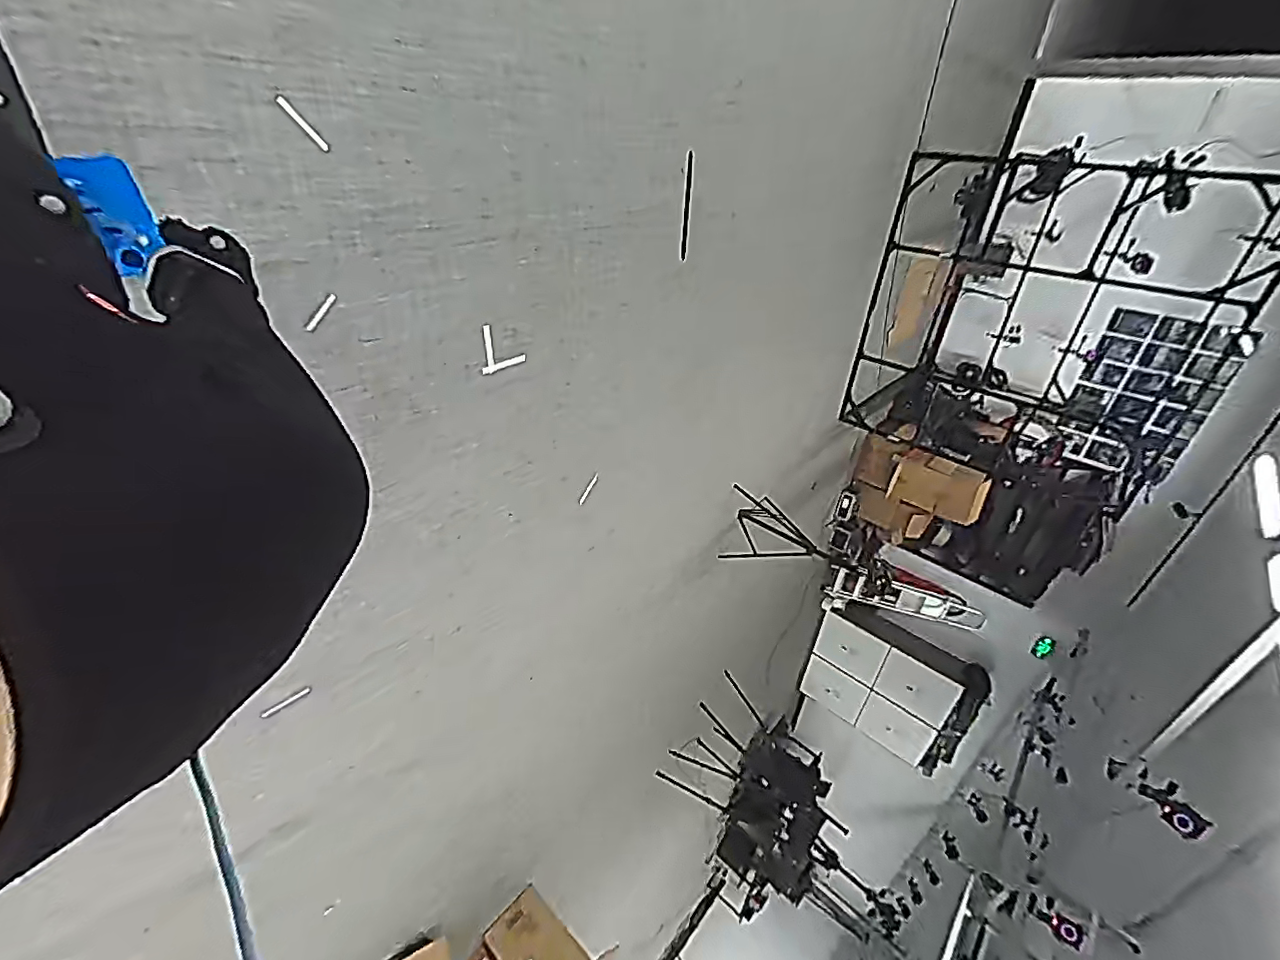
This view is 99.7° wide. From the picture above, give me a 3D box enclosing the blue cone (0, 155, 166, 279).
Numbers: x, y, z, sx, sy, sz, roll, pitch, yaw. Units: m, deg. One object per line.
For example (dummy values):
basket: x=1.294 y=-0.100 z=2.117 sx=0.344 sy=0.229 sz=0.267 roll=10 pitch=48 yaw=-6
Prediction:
blue cone: x=-0.884 y=-0.406 z=0.890 sx=0.192 sy=0.380 sz=0.193 roll=-34 pitch=138 yaw=-39
